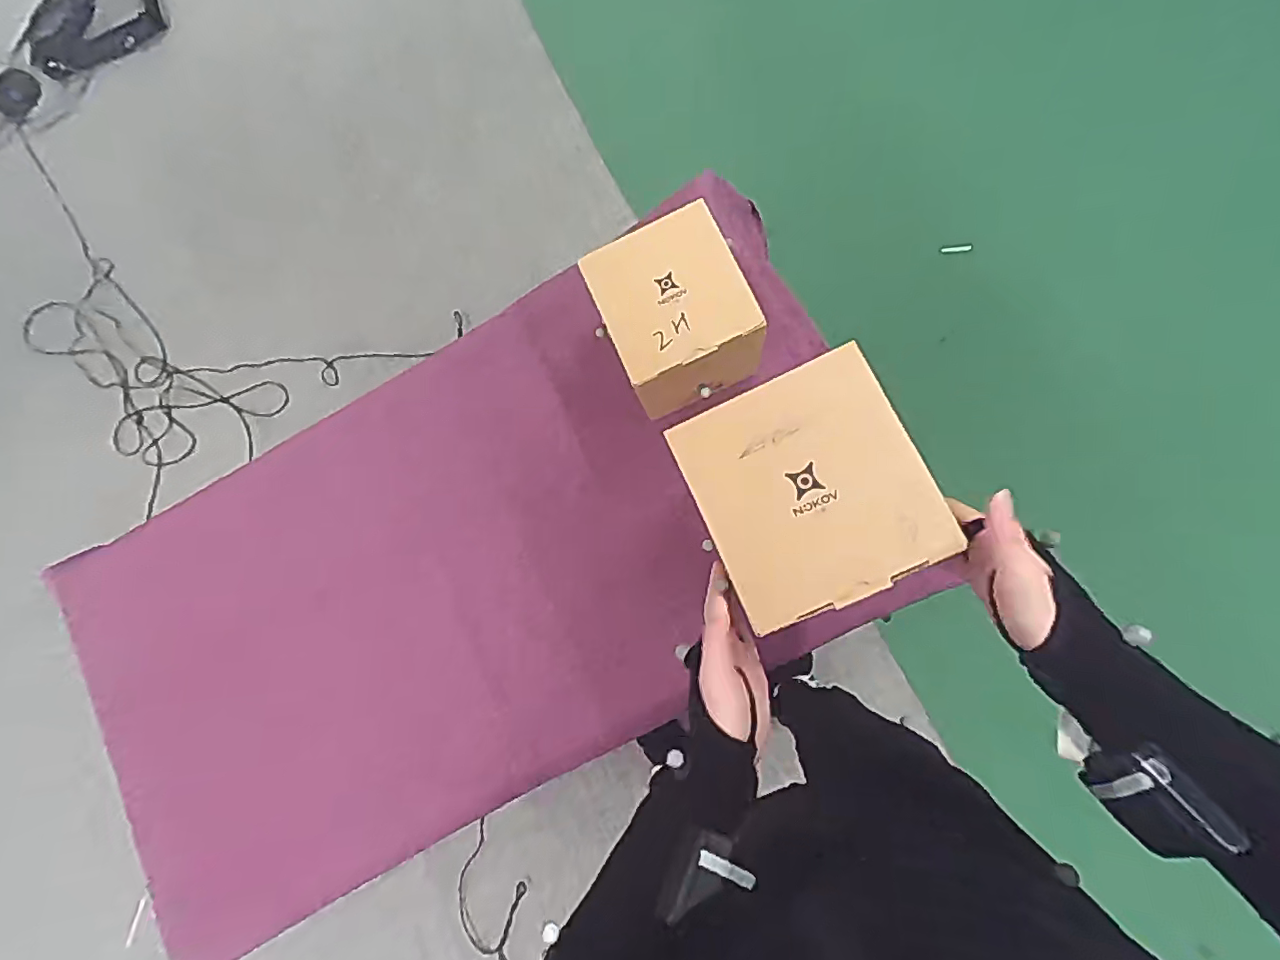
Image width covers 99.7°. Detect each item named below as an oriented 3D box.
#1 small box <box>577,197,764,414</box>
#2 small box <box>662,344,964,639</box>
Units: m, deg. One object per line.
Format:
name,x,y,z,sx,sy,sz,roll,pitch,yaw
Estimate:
small box,0.042,-0.207,0.690,0.168,0.176,0.179,-25,81,6
small box,0.136,0.016,0.477,0.168,0.176,0.179,-25,78,6
